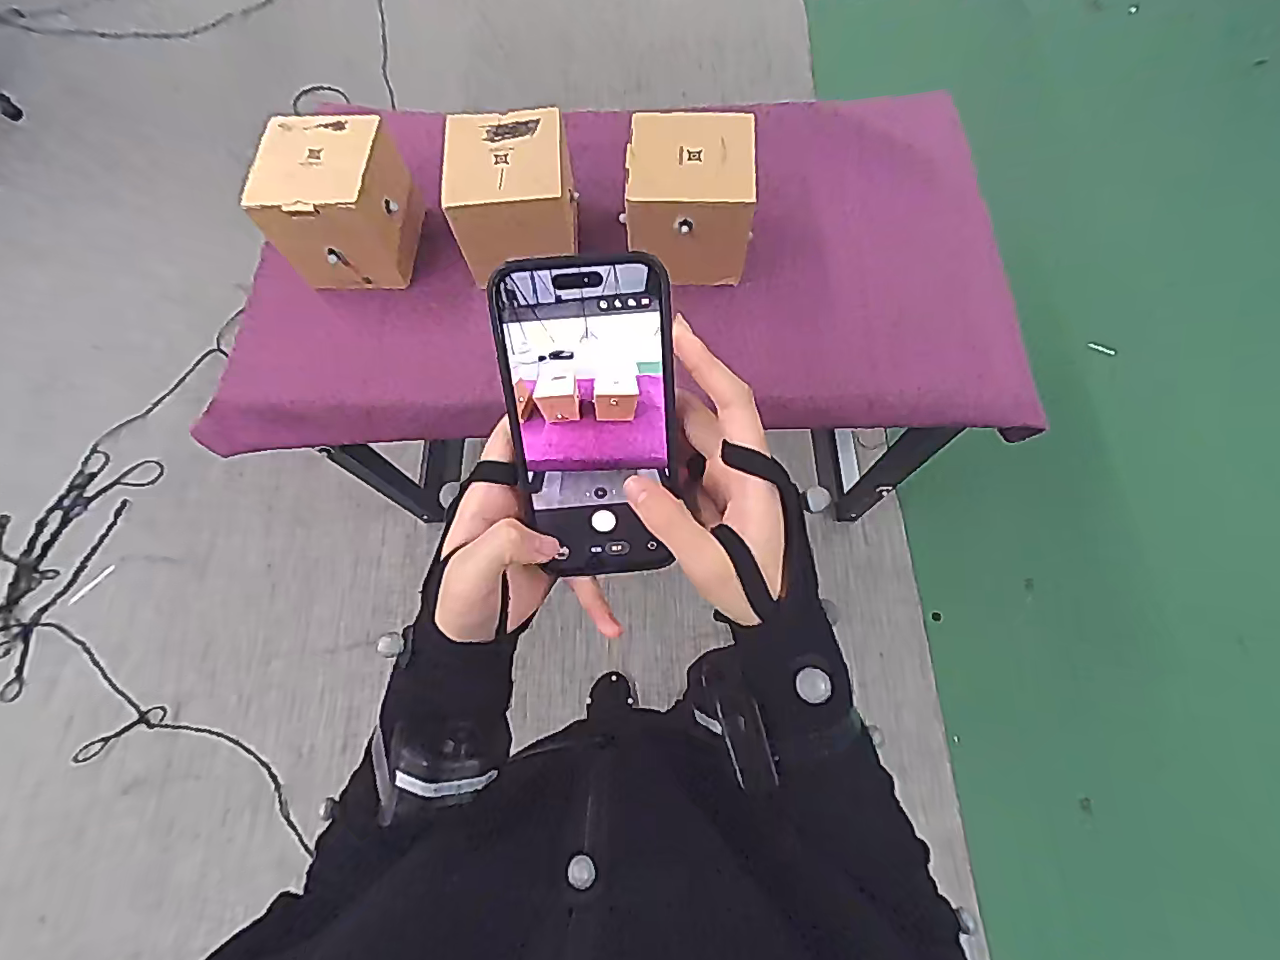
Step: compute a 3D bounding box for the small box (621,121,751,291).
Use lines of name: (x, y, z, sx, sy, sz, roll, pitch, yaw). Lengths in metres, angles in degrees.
small box: (0.070, -0.408, 0.822, 0.179, 0.176, 0.168, 3, 70, 3)

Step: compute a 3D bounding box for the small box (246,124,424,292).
small box: (-0.458, -0.414, 0.844, 0.168, 0.176, 0.179, 1, 70, 2)

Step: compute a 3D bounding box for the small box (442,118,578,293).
small box: (-0.190, -0.416, 0.835, 0.168, 0.176, 0.179, -4, 69, 1)
